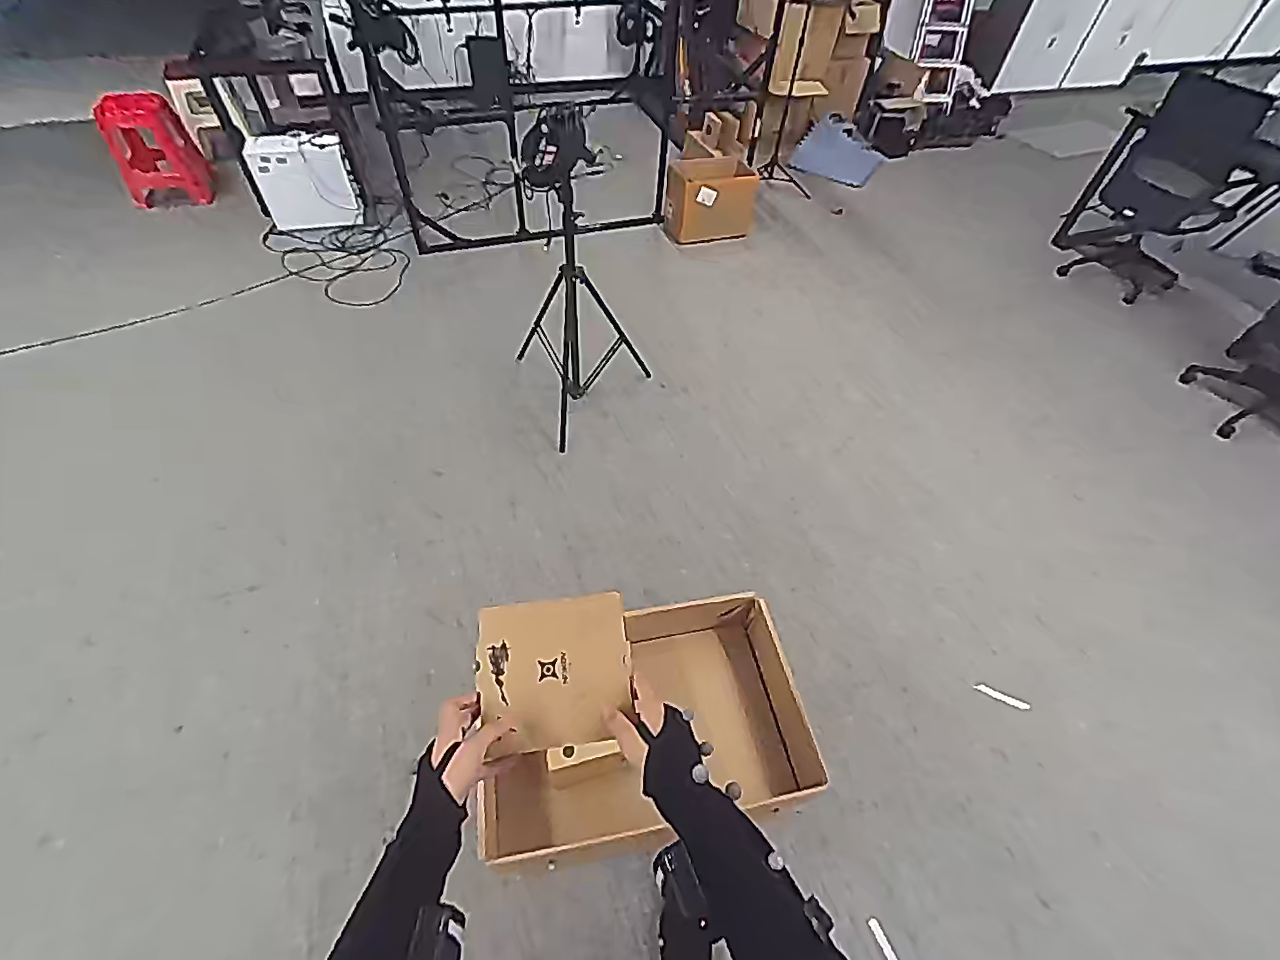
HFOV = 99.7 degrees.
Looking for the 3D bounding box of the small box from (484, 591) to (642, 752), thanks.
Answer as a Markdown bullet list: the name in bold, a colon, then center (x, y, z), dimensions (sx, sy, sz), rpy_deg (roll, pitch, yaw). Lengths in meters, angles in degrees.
- **small box**: center (-0.098, 0.248, 0.701), dimensions (0.179, 0.176, 0.168), rpy_deg (-5, 66, -6)
